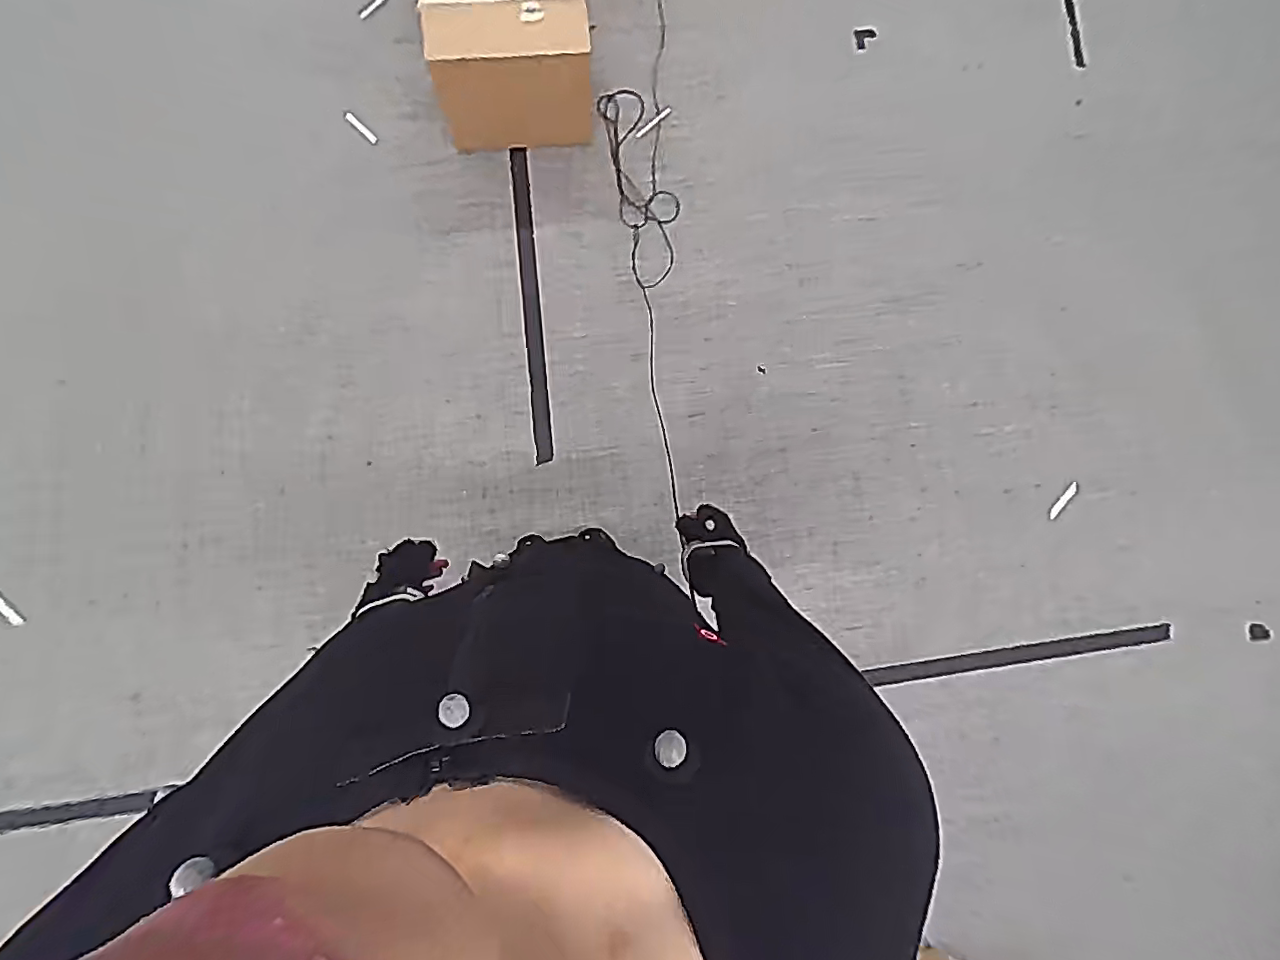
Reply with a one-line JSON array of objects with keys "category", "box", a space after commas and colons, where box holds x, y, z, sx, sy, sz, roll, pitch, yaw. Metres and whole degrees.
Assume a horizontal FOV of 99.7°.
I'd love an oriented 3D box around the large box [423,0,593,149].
[{"category": "large box", "box": [-0.347, -1.165, 1.484, 0.408, 0.320, 0.320, -6, 84, -5]}]
